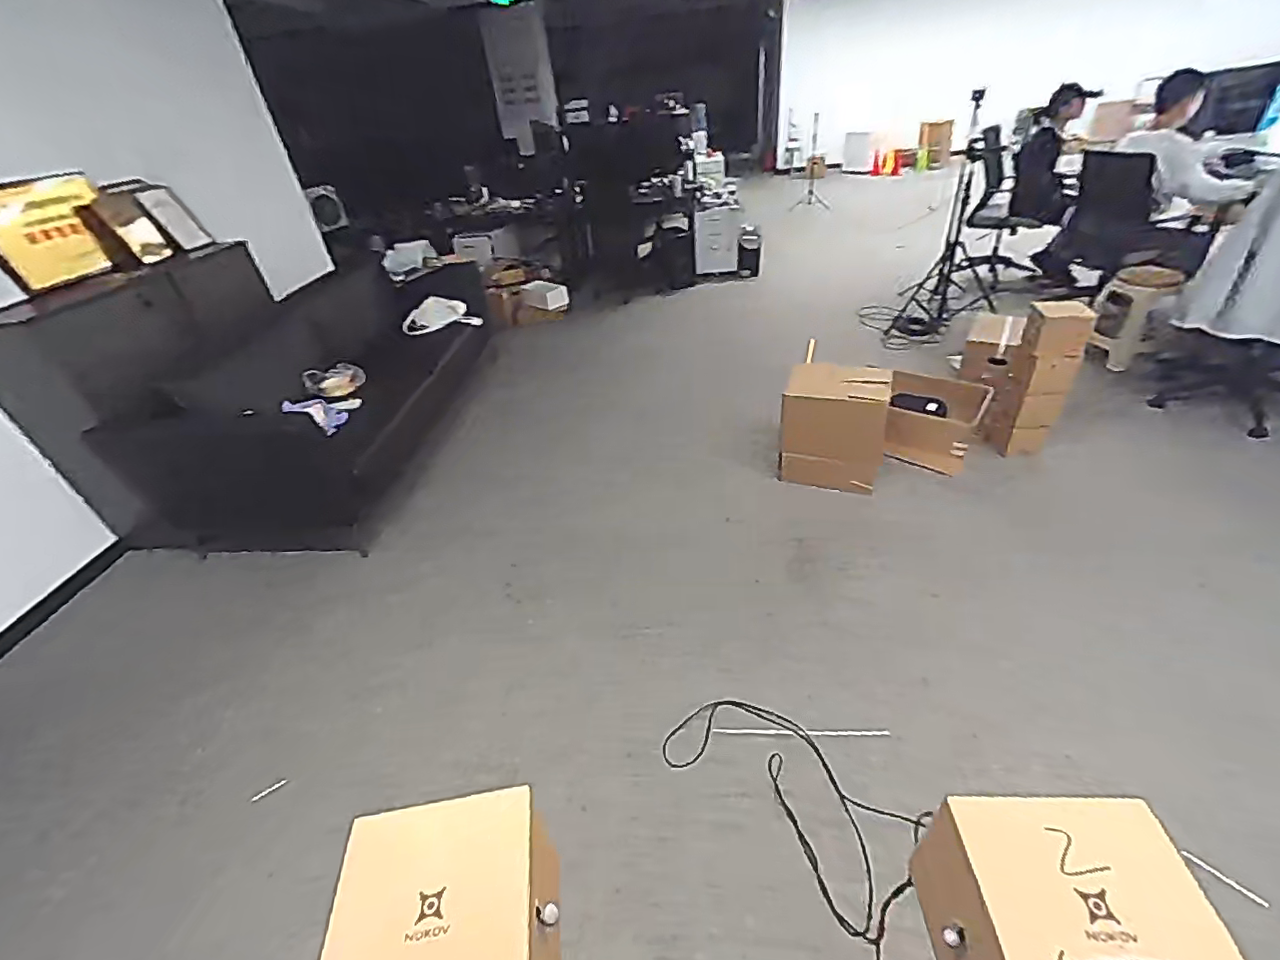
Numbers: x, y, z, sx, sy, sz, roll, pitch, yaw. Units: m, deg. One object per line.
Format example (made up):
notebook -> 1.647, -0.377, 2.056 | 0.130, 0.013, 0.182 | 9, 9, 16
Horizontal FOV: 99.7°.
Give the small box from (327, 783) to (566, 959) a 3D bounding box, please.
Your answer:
small box -> -0.162, 0.415, 0.494 | 0.168, 0.176, 0.179 | -8, 39, -4
